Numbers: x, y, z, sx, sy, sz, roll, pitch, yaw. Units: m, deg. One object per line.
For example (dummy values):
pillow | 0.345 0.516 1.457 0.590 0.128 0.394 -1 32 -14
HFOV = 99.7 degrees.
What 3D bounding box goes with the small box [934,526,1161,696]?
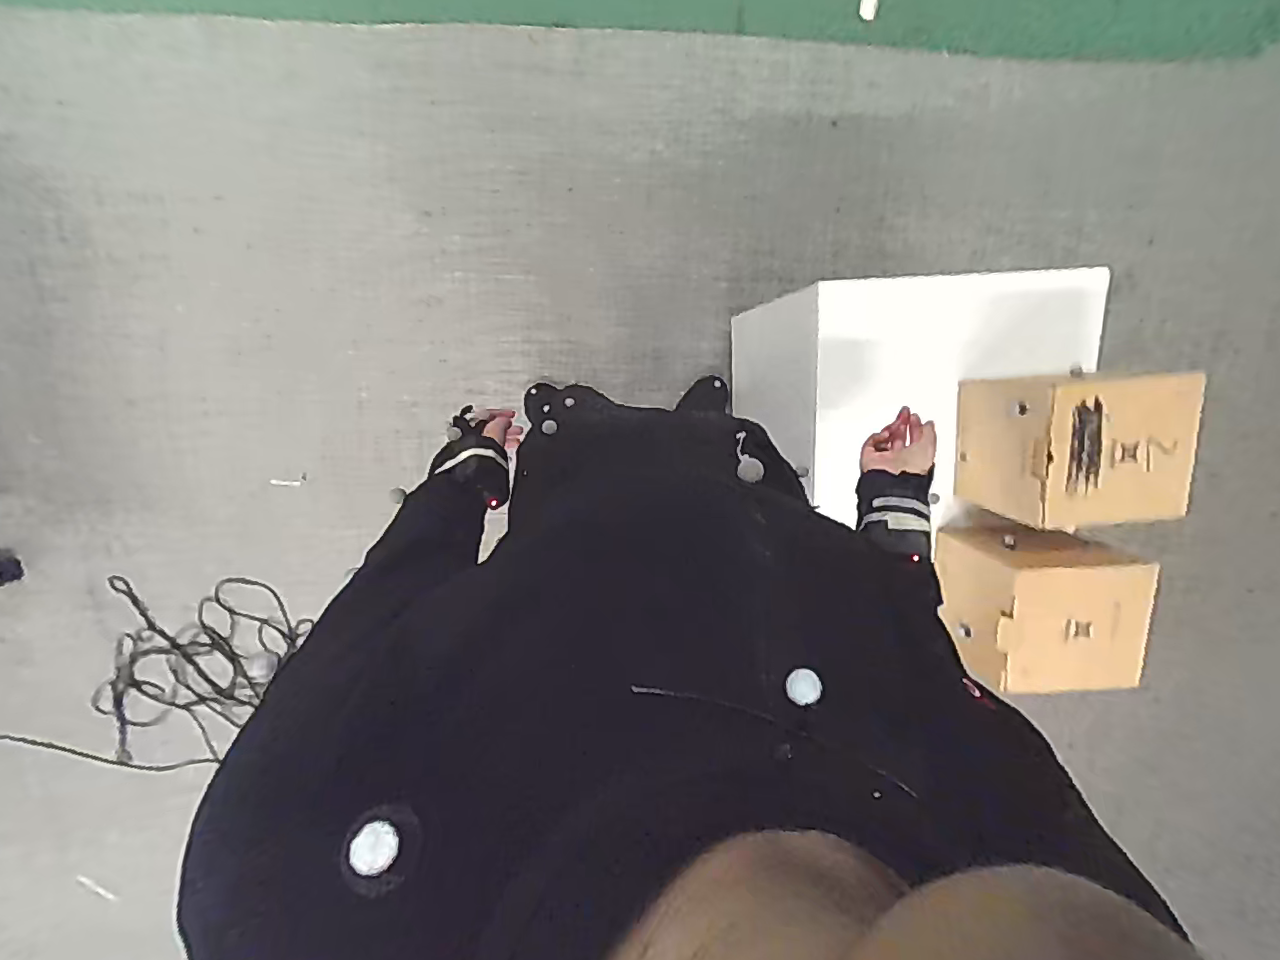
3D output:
small box | 0.528 0.166 0.730 0.179 0.176 0.168 -3 103 -2
